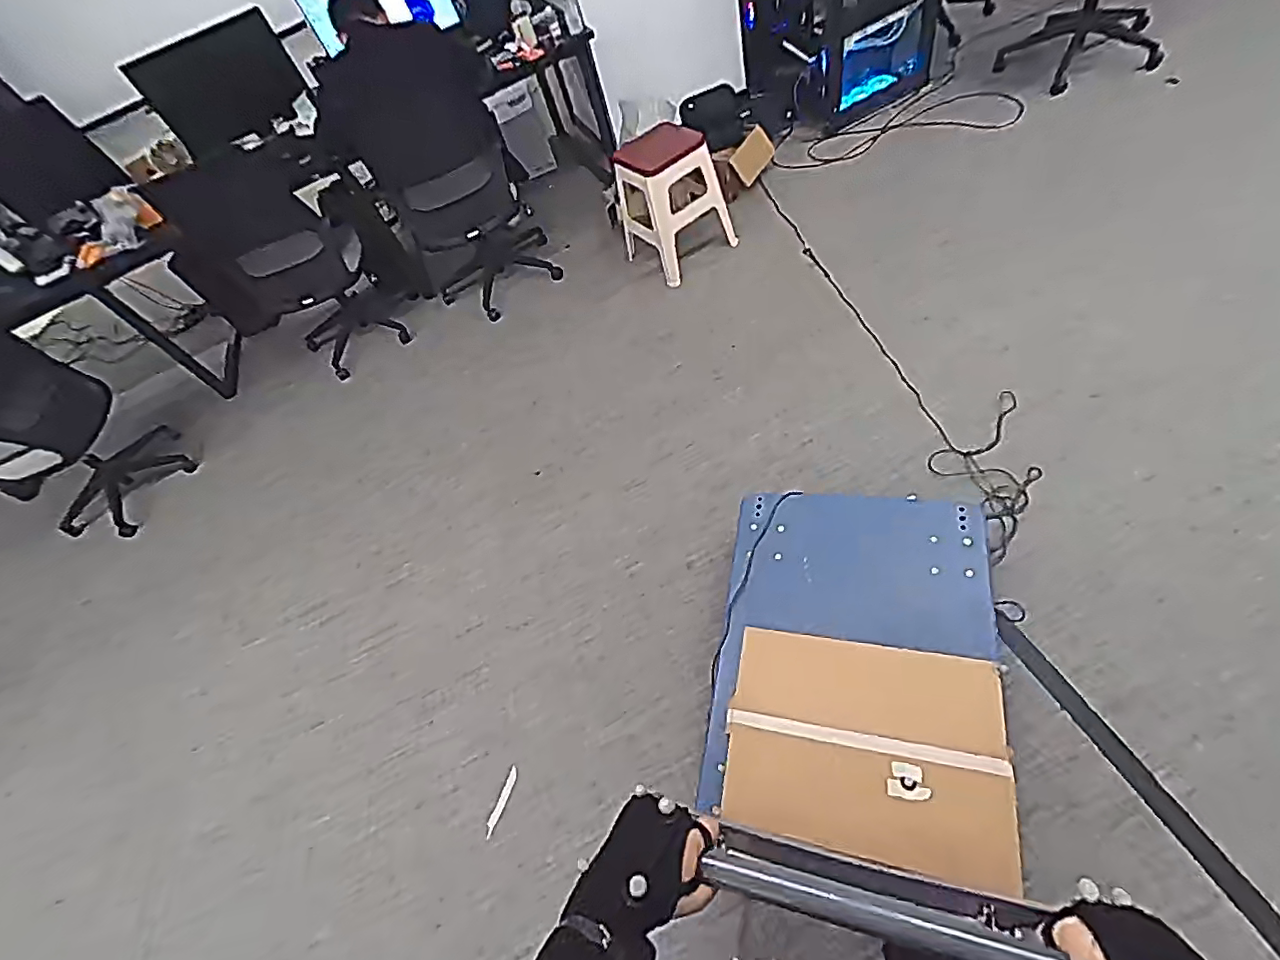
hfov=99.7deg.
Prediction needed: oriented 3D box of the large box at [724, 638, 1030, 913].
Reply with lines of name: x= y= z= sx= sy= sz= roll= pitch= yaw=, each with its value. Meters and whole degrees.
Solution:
large box: x=0.380 y=0.499 z=0.945 sx=0.408 sy=0.320 sz=0.320 roll=3 pitch=59 yaw=20
